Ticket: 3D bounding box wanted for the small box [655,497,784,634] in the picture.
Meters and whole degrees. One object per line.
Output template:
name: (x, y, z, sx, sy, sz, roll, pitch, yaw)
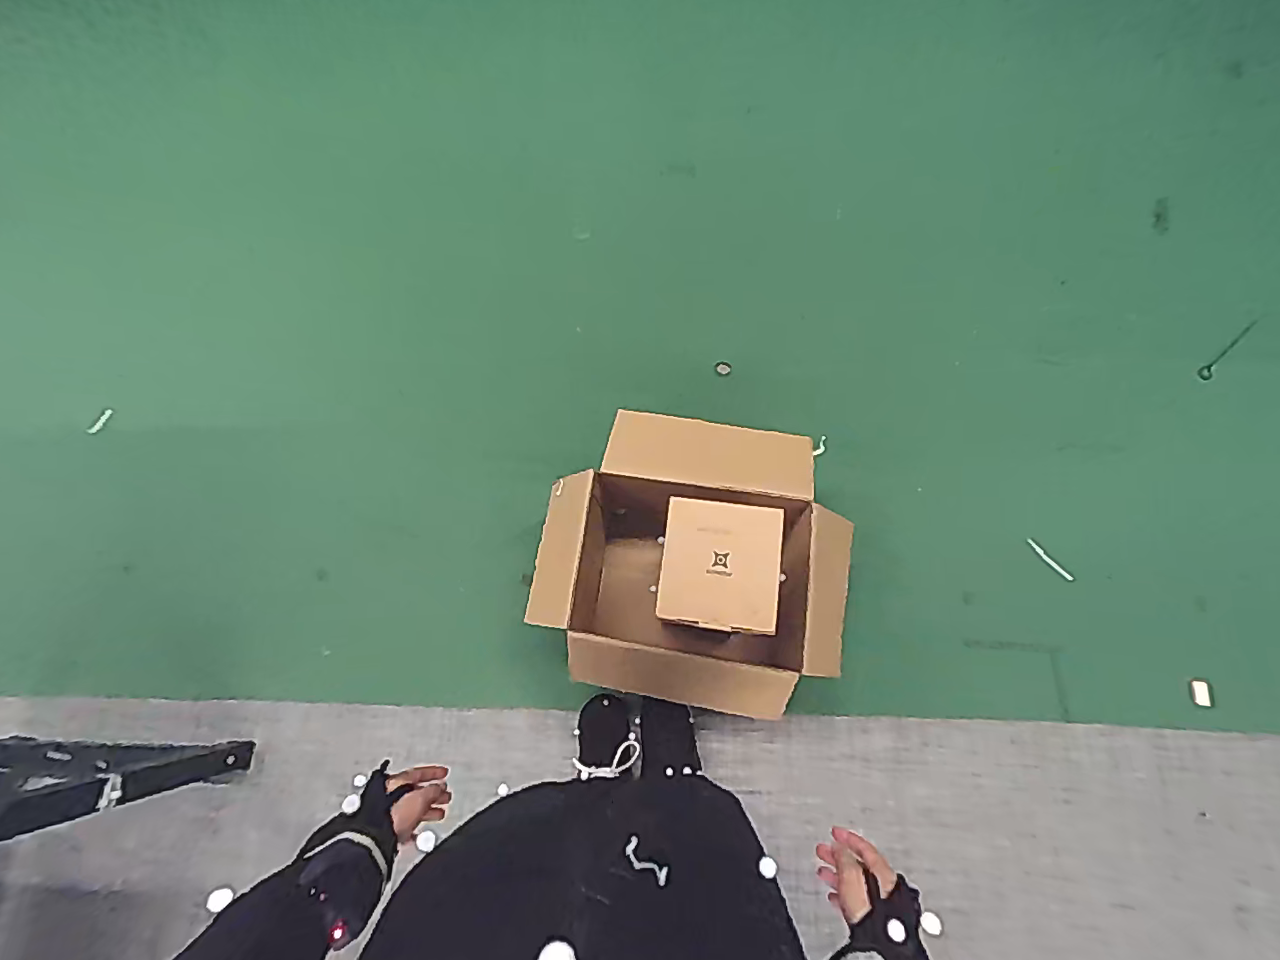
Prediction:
small box: (0.118, 0.138, 0.827, 0.168, 0.176, 0.179, 6, 73, 5)
